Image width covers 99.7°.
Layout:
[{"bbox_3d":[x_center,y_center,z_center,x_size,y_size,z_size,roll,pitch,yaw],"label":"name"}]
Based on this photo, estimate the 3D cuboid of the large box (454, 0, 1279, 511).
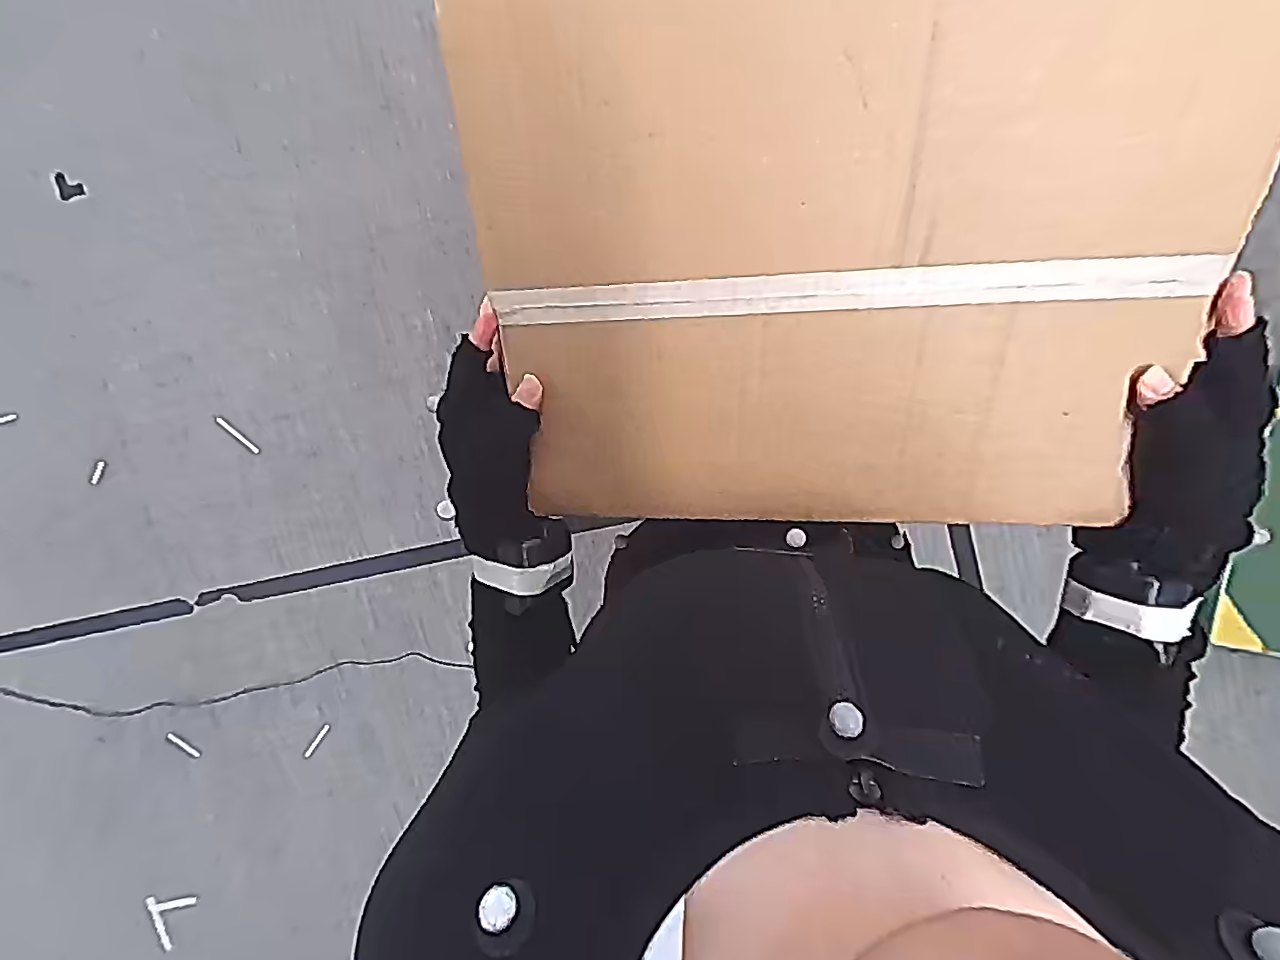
[{"bbox_3d":[0.124,-0.183,0.453,0.408,0.320,0.320,0,119,8],"label":"large box"}]
